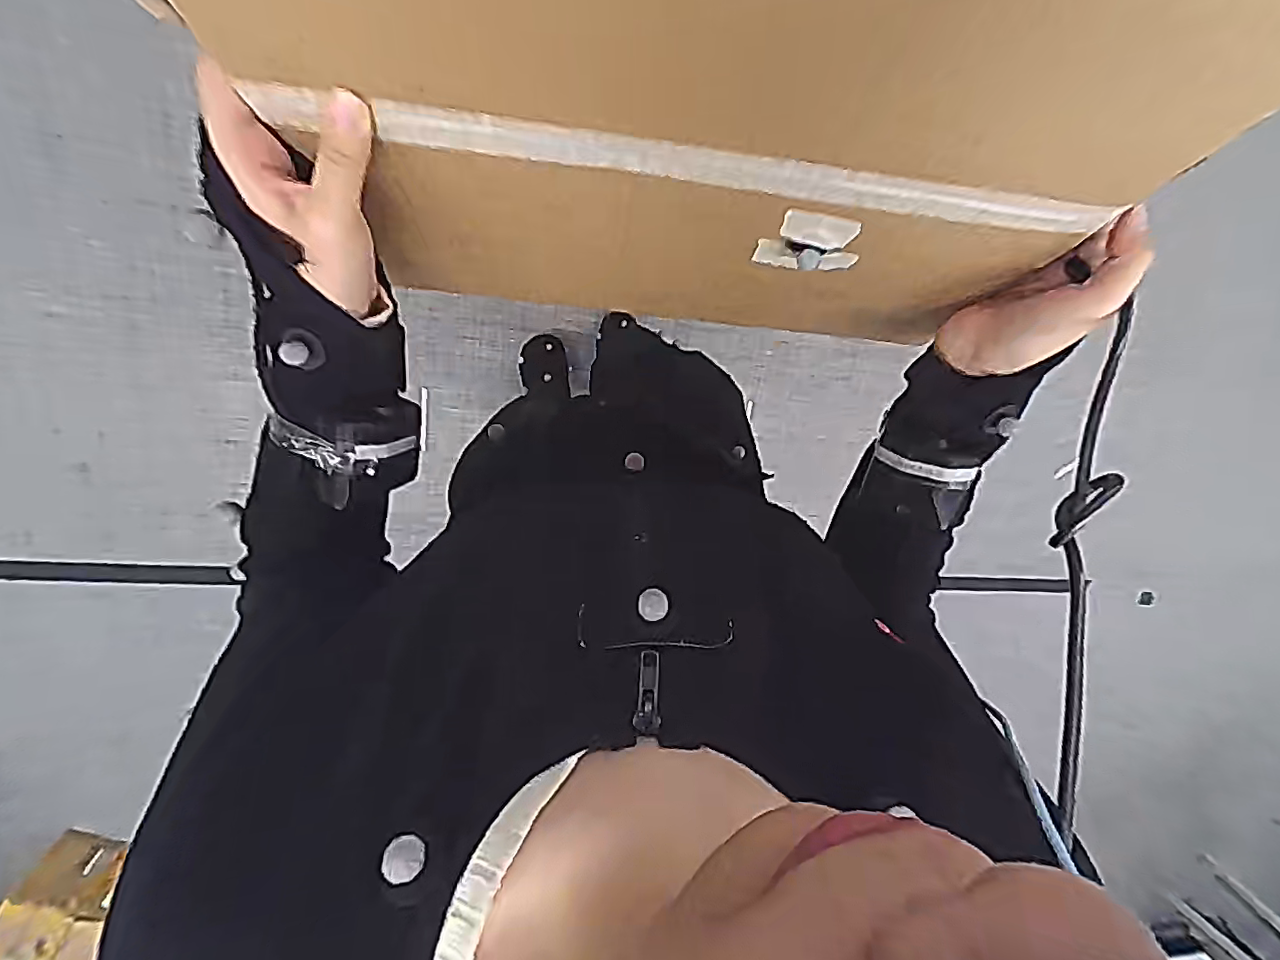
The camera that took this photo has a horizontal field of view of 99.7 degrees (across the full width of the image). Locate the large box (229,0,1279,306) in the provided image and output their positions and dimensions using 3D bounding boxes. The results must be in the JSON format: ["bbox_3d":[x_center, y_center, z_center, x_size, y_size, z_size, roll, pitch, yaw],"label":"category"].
[{"bbox_3d":[0.049,-0.309,0.248,0.408,0.320,0.320,3,81,-6],"label":"large box"}]
